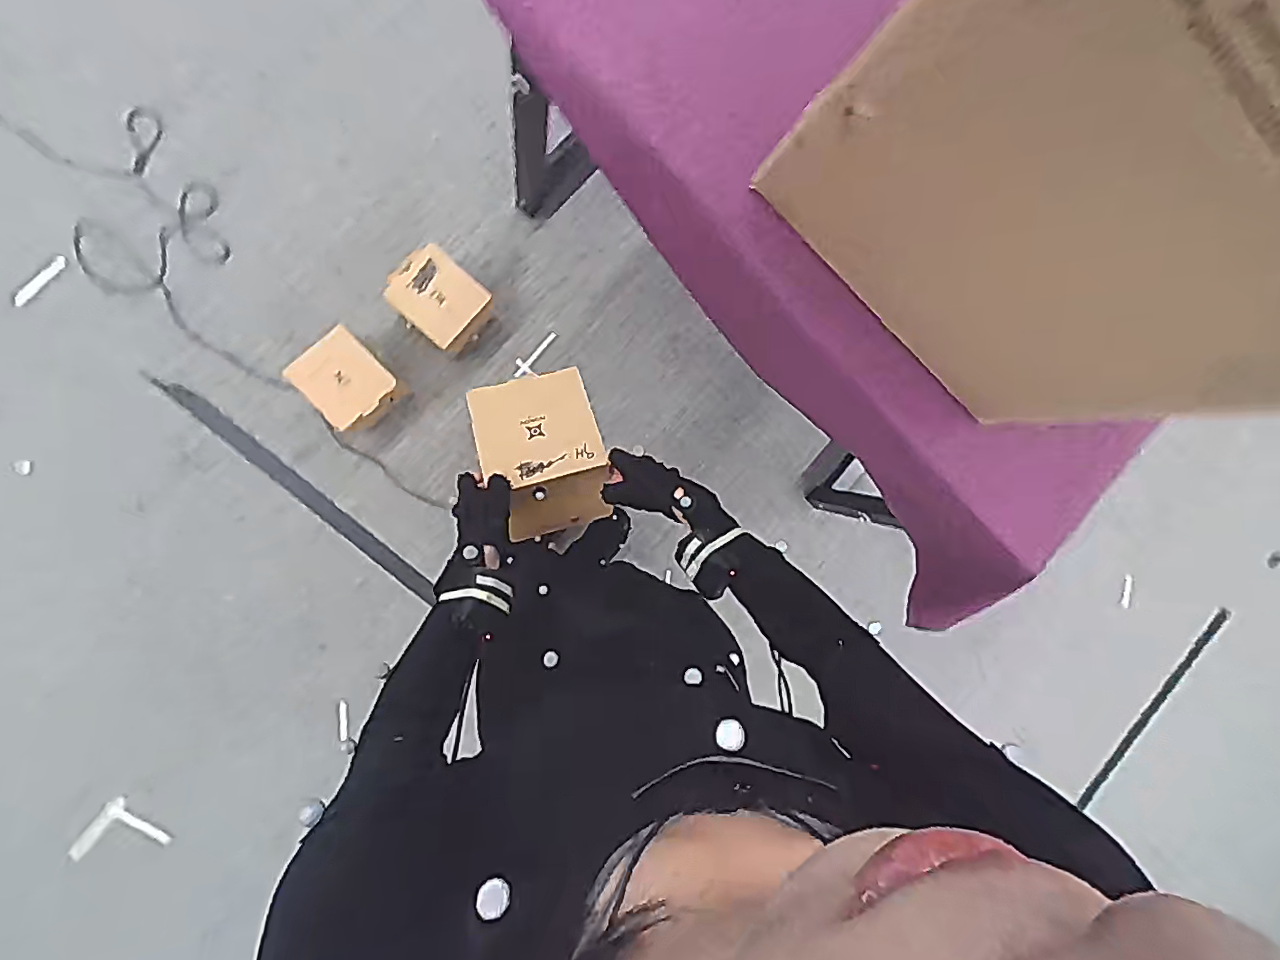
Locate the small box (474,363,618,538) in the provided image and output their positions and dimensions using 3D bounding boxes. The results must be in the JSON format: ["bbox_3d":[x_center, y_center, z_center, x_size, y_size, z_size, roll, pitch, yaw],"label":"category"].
[{"bbox_3d":[-0.133,-0.038,0.796,0.168,0.176,0.179,-15,63,-8],"label":"small box"}]

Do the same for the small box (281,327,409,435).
[{"bbox_3d":[-0.669,-0.222,1.256,0.168,0.176,0.179,-44,100,-7],"label":"small box"}]

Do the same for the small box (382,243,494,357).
[{"bbox_3d":[-0.468,-0.414,1.281,0.179,0.176,0.168,41,85,-12],"label":"small box"}]
